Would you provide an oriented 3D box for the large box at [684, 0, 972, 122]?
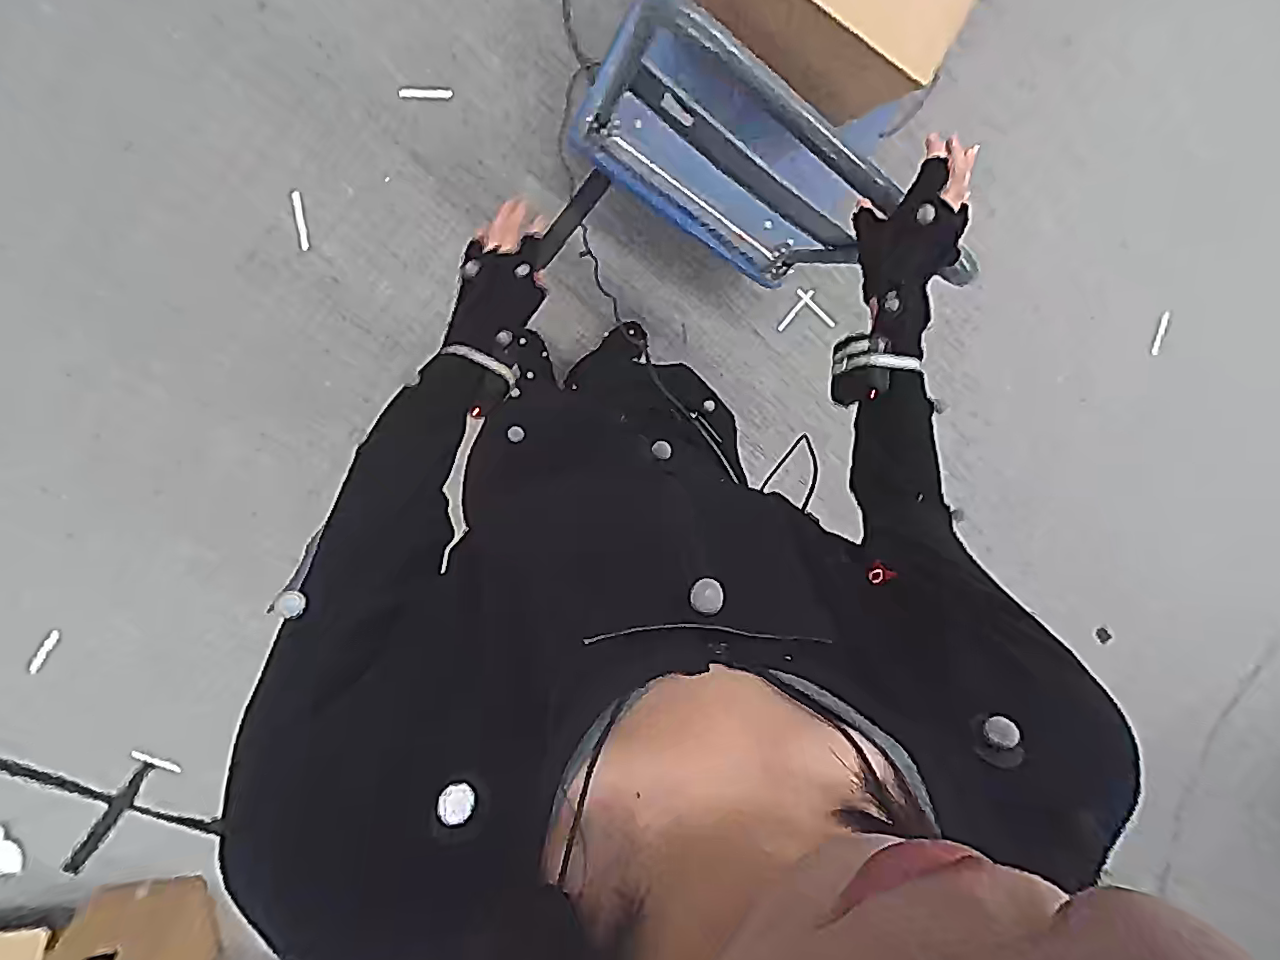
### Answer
[{"bbox_3d":[0.346,-0.922,0.948,0.408,0.320,0.320,21,107,-18],"label":"large box"}]
